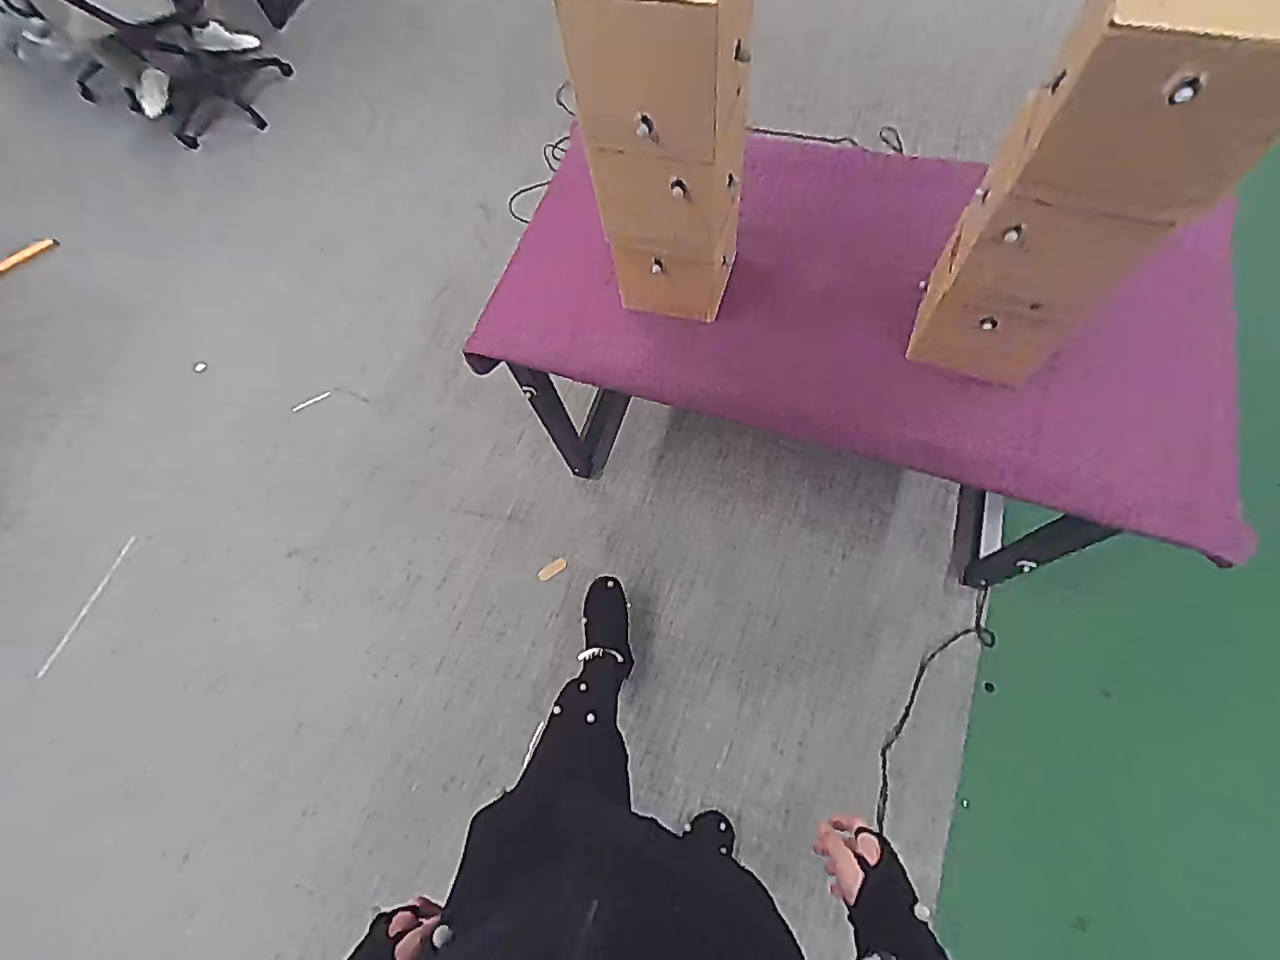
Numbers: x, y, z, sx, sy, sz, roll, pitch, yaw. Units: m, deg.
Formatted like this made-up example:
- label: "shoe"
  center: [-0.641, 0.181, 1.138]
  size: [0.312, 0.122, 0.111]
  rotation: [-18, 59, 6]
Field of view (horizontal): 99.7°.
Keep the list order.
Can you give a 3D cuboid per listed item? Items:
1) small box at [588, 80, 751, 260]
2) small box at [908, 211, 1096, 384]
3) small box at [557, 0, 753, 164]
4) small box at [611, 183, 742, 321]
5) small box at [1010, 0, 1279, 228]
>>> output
- label: "small box"
  center: [0.048, -0.445, 0.776]
  size: [0.179, 0.176, 0.168]
  rotation: [16, 71, 13]
- label: "small box"
  center: [0.537, -0.270, 0.825]
  size: [0.179, 0.176, 0.168]
  rotation: [19, 72, 13]
- label: "small box"
  center: [0.030, -0.502, 0.624]
  size: [0.179, 0.176, 0.168]
  rotation: [16, 71, 12]
- label: "small box"
  center: [0.068, -0.399, 0.934]
  size: [0.179, 0.176, 0.168]
  rotation: [14, 71, 13]
- label: "small box"
  center: [0.497, -0.374, 0.517]
  size: [0.179, 0.176, 0.168]
  rotation: [21, 73, 14]
